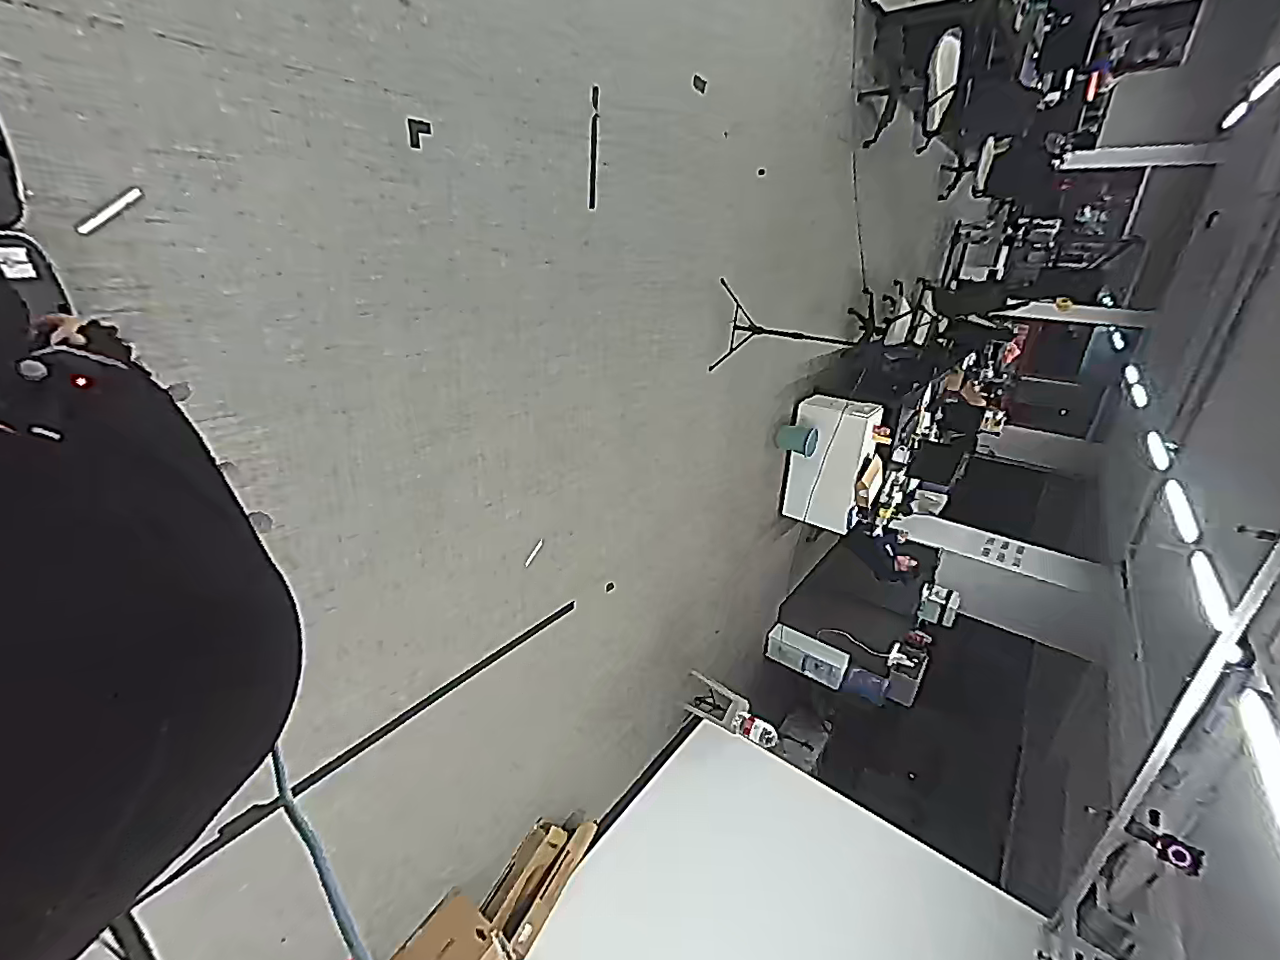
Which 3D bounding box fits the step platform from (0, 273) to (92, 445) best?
[{"bbox_3d":[-1.281,-0.168,0.781,0.684,0.204,0.286,-18,119,-49],"label":"step platform"}]
